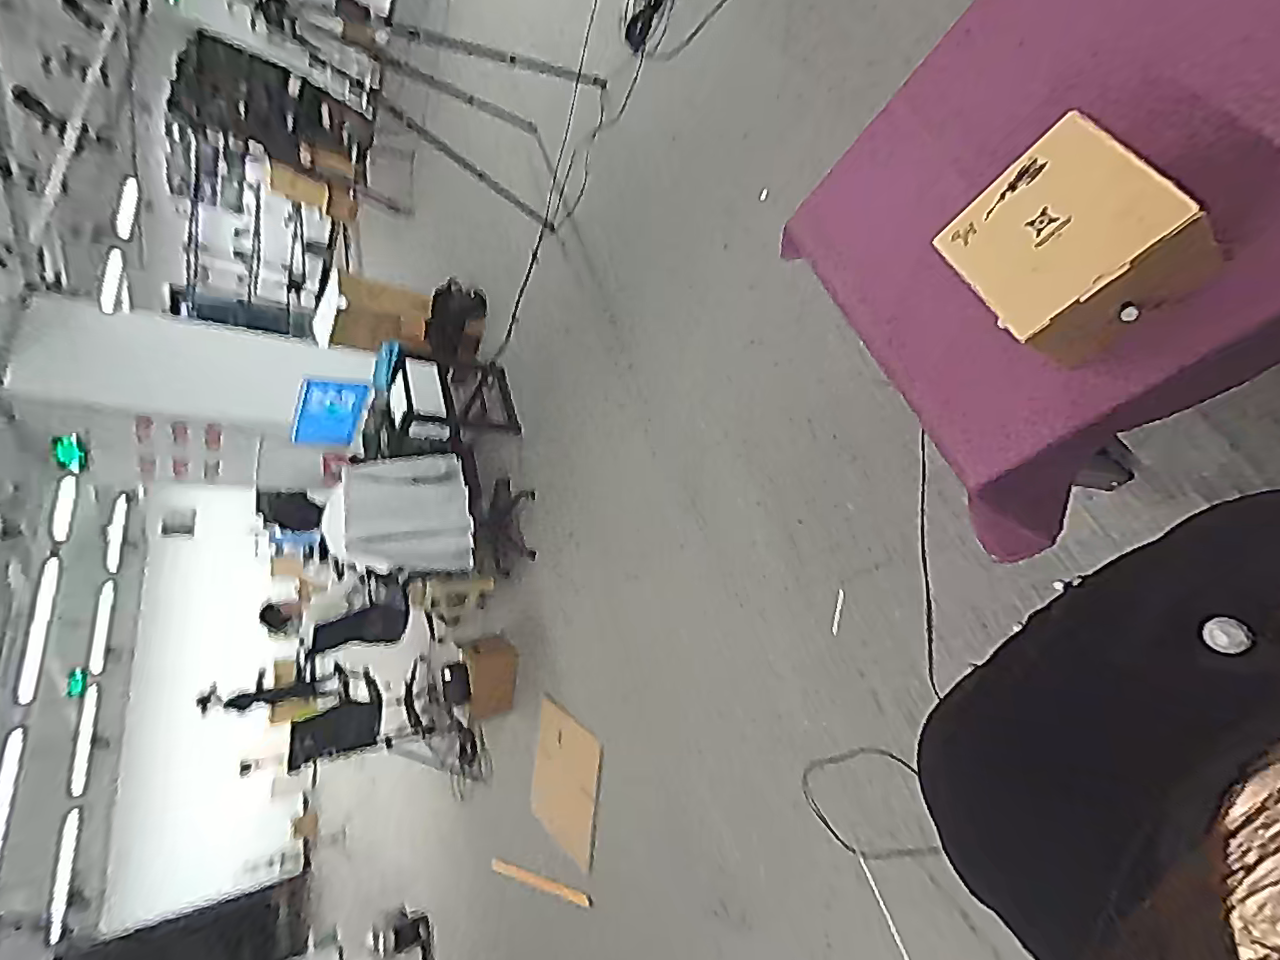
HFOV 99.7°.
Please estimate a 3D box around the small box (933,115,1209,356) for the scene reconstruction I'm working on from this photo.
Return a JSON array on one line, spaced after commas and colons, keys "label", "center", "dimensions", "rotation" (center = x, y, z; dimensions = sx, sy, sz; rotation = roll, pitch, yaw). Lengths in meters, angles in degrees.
[{"label": "small box", "center": [0.491, -0.262, 0.622], "dimensions": [0.168, 0.176, 0.179], "rotation": [-46, 53, 39]}]
